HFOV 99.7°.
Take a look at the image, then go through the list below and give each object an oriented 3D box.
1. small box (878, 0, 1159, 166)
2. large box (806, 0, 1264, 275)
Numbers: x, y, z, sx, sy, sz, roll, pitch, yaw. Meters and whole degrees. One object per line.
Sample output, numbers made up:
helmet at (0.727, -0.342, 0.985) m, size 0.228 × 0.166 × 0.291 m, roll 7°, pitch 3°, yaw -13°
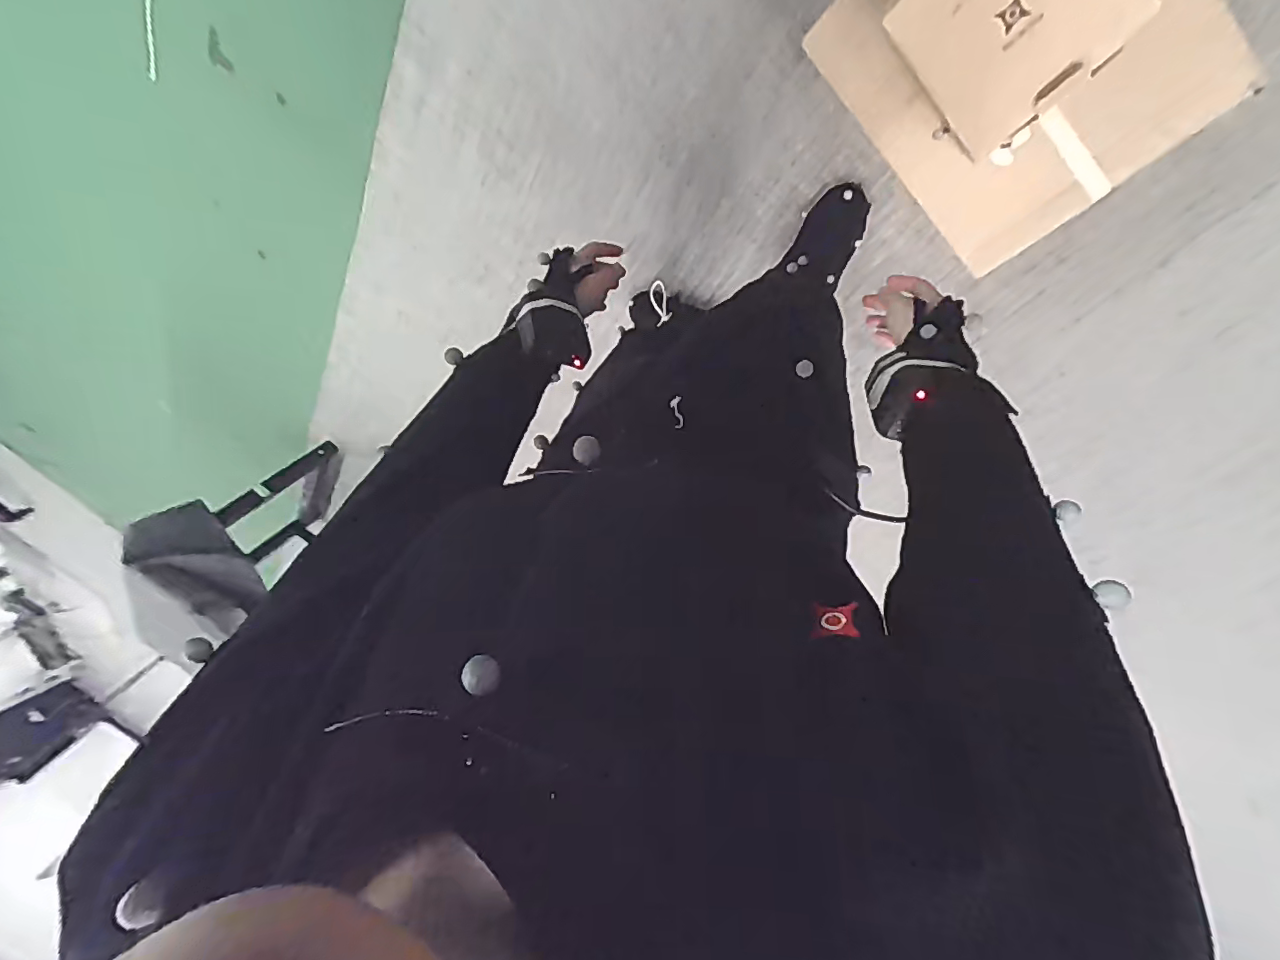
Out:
small box at (0.376, -0.471, 0.567) m, size 0.179 × 0.176 × 0.168 m, roll 46°, pitch 128°, yaw -11°
large box at (0.494, -0.580, 0.755) m, size 0.408 × 0.320 × 0.320 m, roll 44°, pitch 131°, yaw -12°
